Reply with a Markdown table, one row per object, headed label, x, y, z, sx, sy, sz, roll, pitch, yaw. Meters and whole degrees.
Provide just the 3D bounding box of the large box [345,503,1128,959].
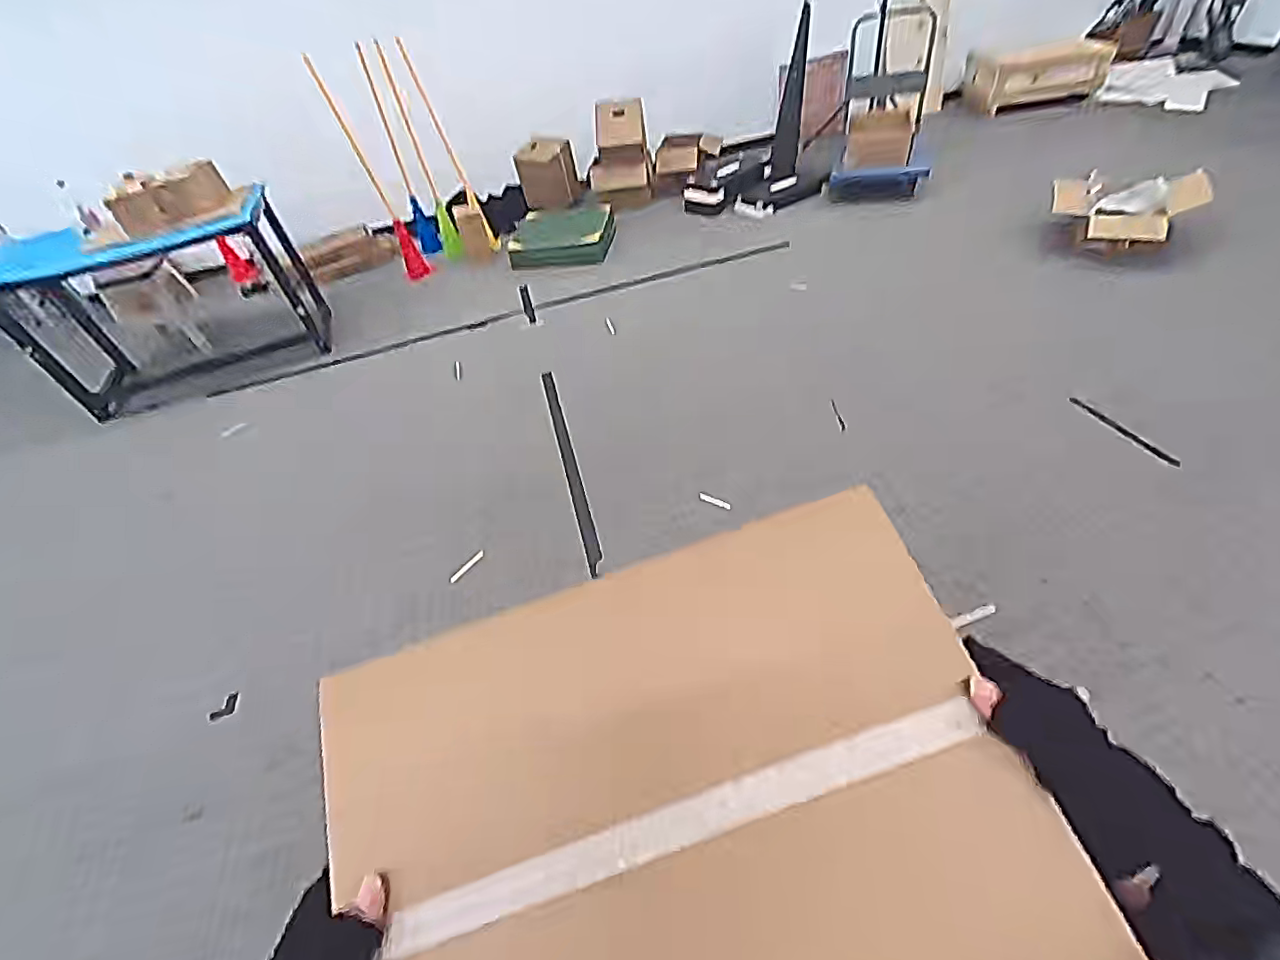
| label | x | y | z | sx | sy | sz | roll | pitch | yaw |
| --- | --- | --- | --- | --- | --- | --- | --- | --- | --- |
| large box | 0.042 | 0.275 | 0.456 | 0.408 | 0.320 | 0.320 | -20 | 65 | -1 |
